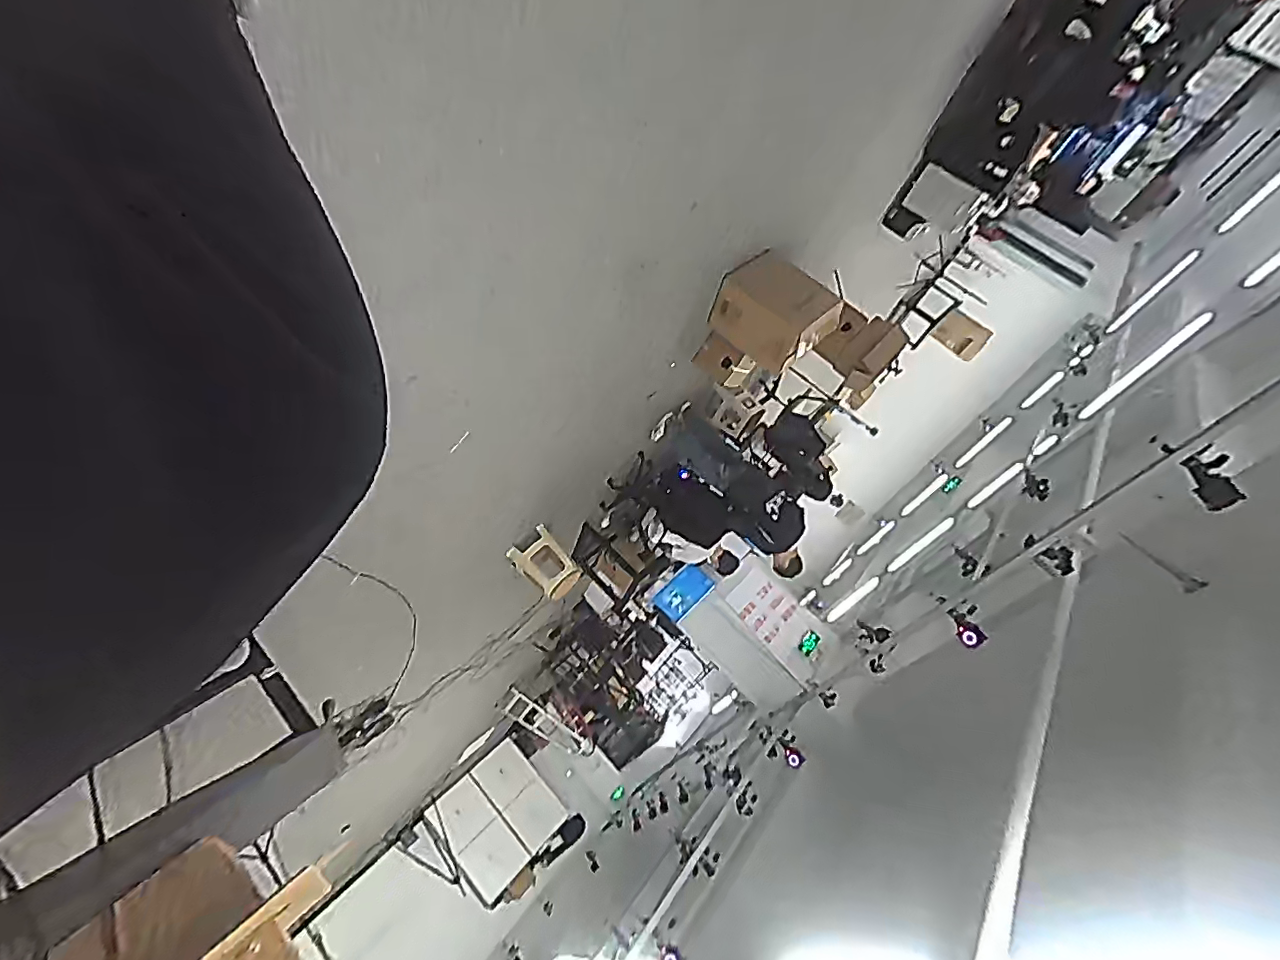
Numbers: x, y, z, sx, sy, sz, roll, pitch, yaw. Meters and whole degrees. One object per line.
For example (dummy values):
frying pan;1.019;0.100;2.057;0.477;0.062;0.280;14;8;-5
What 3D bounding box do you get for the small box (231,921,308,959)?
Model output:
small box;-1.107;1.463;1.610;0.168;0.176;0.179;-34;157;-41
